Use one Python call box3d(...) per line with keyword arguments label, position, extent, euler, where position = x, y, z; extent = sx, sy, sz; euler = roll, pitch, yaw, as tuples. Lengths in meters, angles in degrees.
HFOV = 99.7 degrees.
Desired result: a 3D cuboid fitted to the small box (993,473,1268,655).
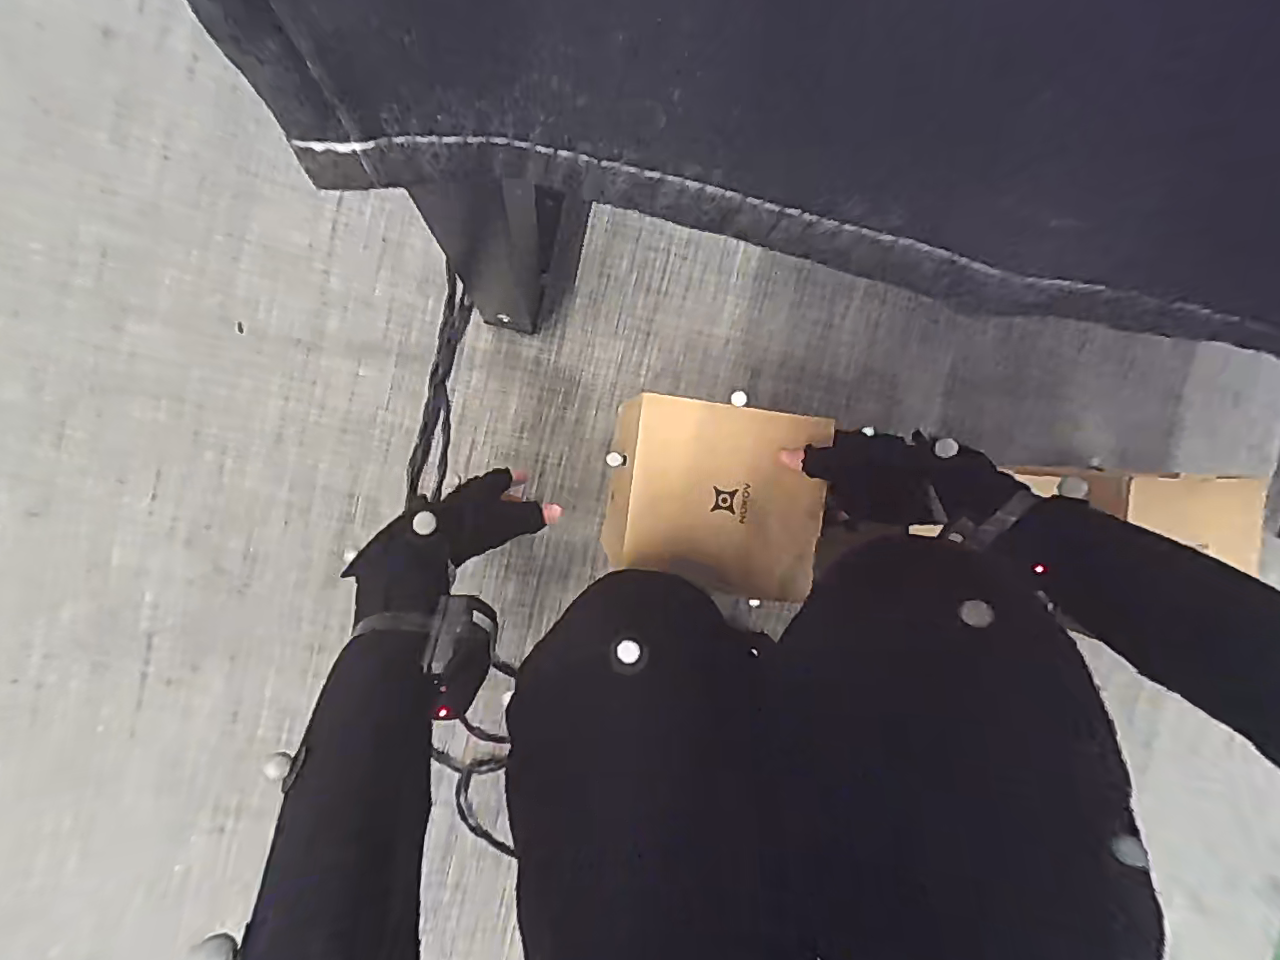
box3d(label="small box", position=(0.539, 0.082, 0.615), extent=(0.168, 0.176, 0.179), euler=(0, 94, -10))
